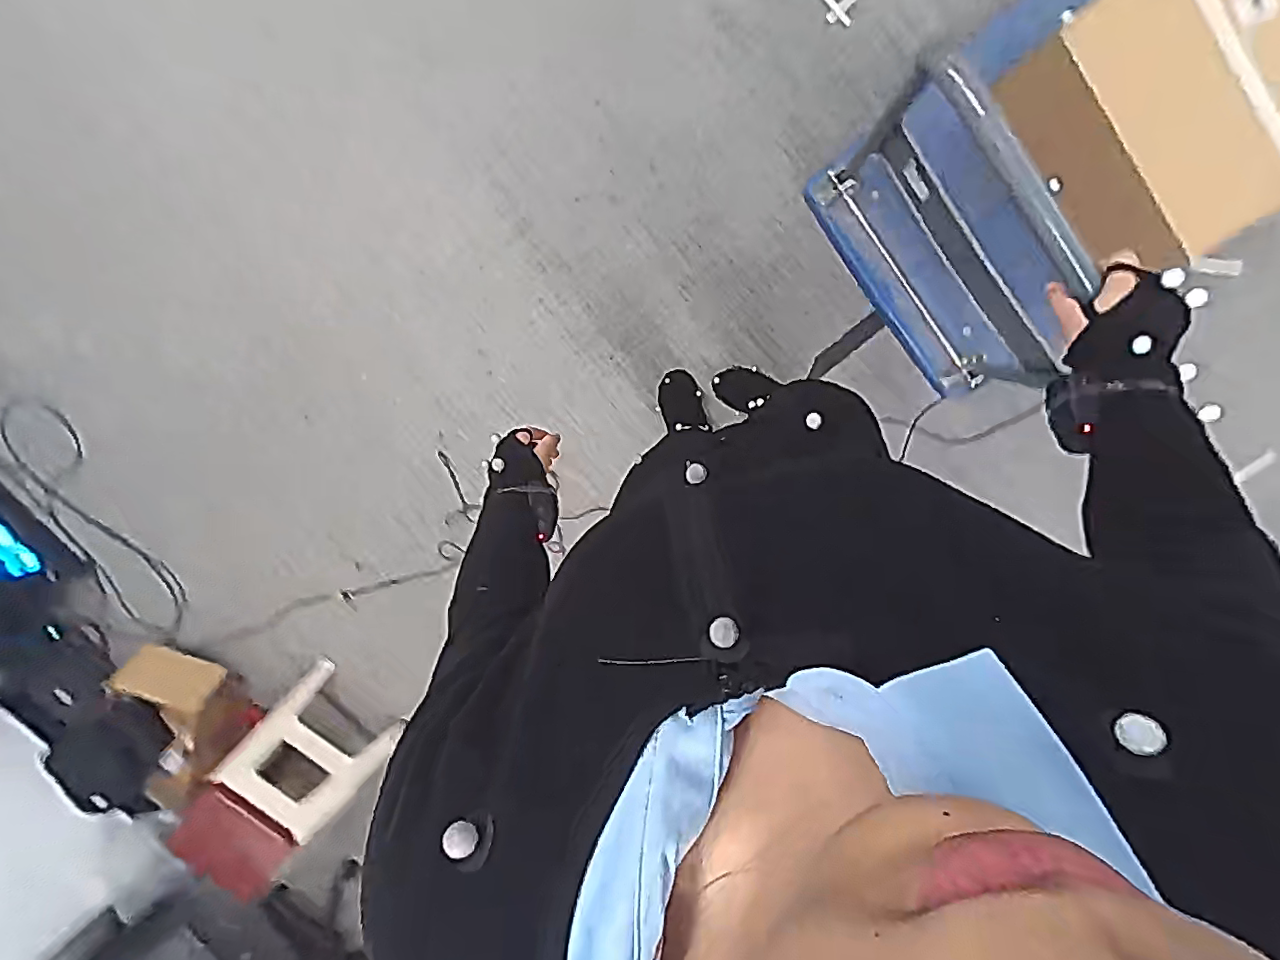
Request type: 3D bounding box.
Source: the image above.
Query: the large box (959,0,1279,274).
[{"bbox_3d":[0.858,-0.635,0.938,0.320,0.320,0.408,-36,95,14],"label":"large box"}]
